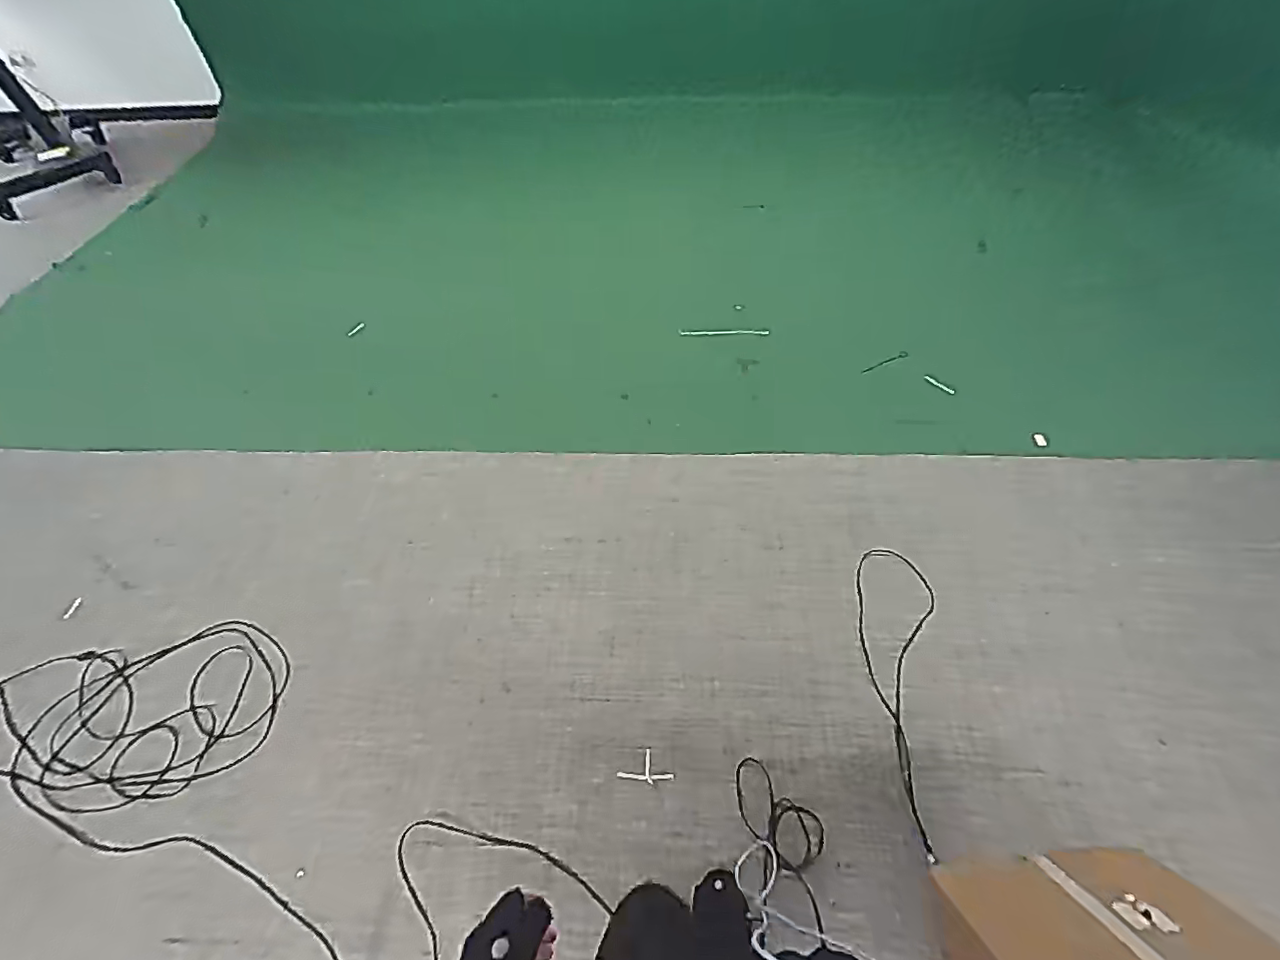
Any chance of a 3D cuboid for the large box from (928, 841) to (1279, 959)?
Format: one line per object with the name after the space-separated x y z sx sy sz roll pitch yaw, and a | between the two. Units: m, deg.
0.598 0.693 0.604 0.320 0.408 0.320 -7 85 2 | large box
